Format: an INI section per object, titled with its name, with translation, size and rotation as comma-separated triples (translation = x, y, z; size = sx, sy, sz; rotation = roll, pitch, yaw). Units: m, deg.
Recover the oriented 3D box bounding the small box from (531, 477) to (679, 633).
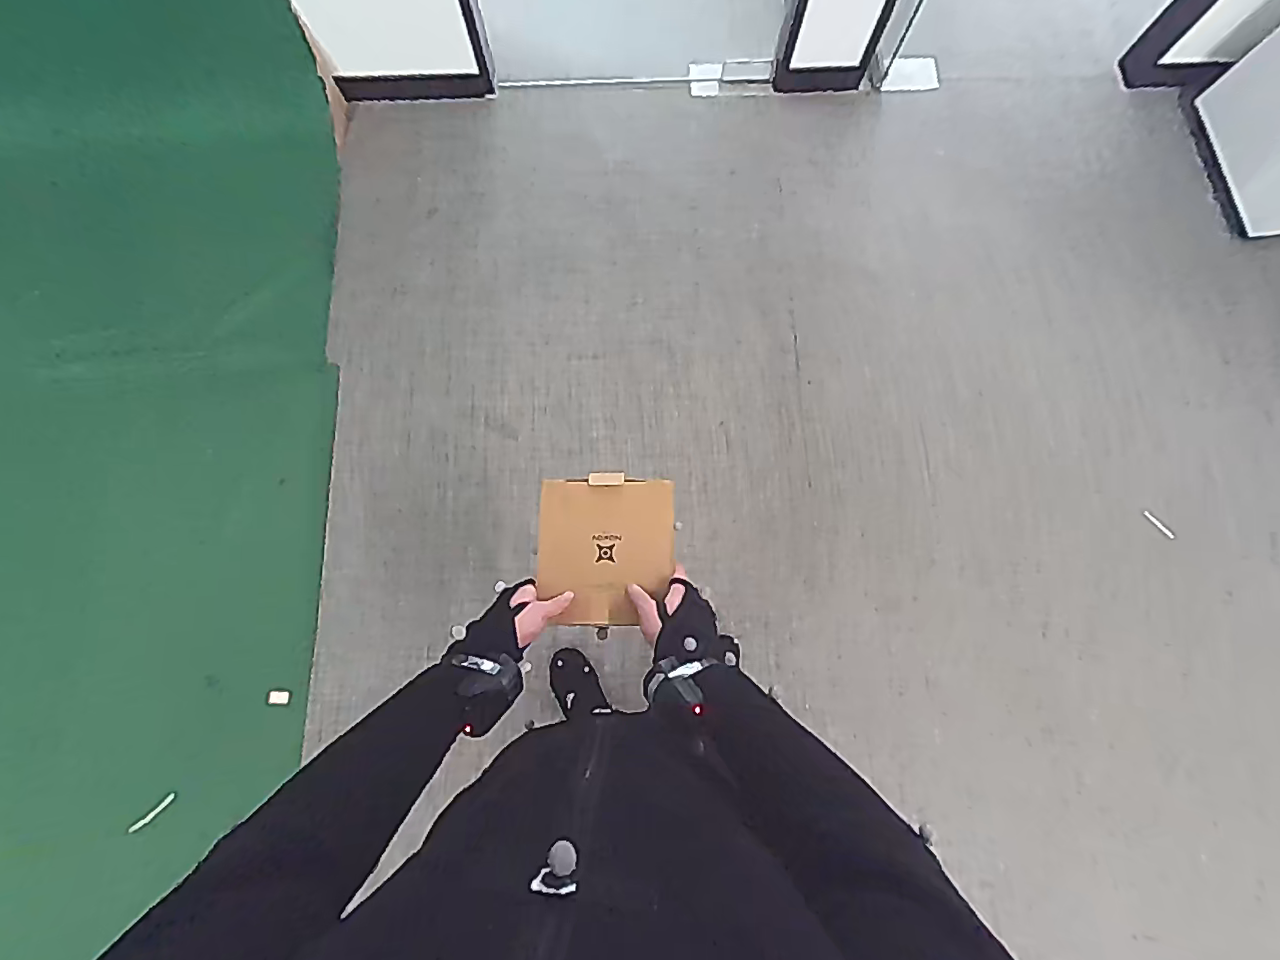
[small box]
translation = -0.037, 0.105, 0.706
size = 0.168, 0.176, 0.179
rotation = 1, 74, 3
